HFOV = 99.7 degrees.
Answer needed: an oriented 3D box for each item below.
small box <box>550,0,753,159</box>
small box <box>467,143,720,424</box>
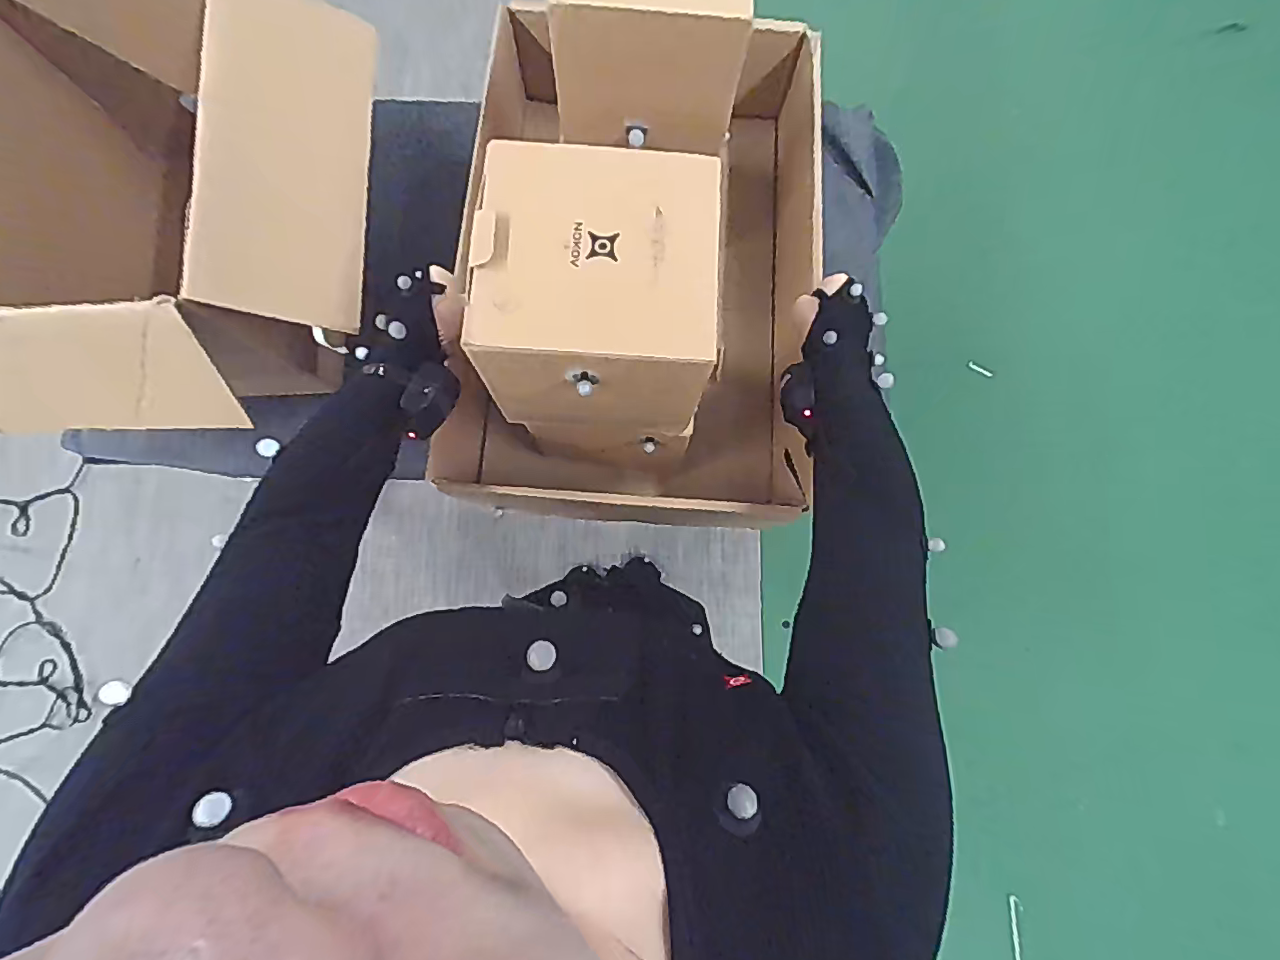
[{"bbox_3d":[0.010,-0.438,0.519,0.168,0.176,0.179,4,81,-2],"label":"small box"},{"bbox_3d":[-0.033,-0.152,0.468,0.179,0.176,0.168,3,79,-2],"label":"small box"}]
